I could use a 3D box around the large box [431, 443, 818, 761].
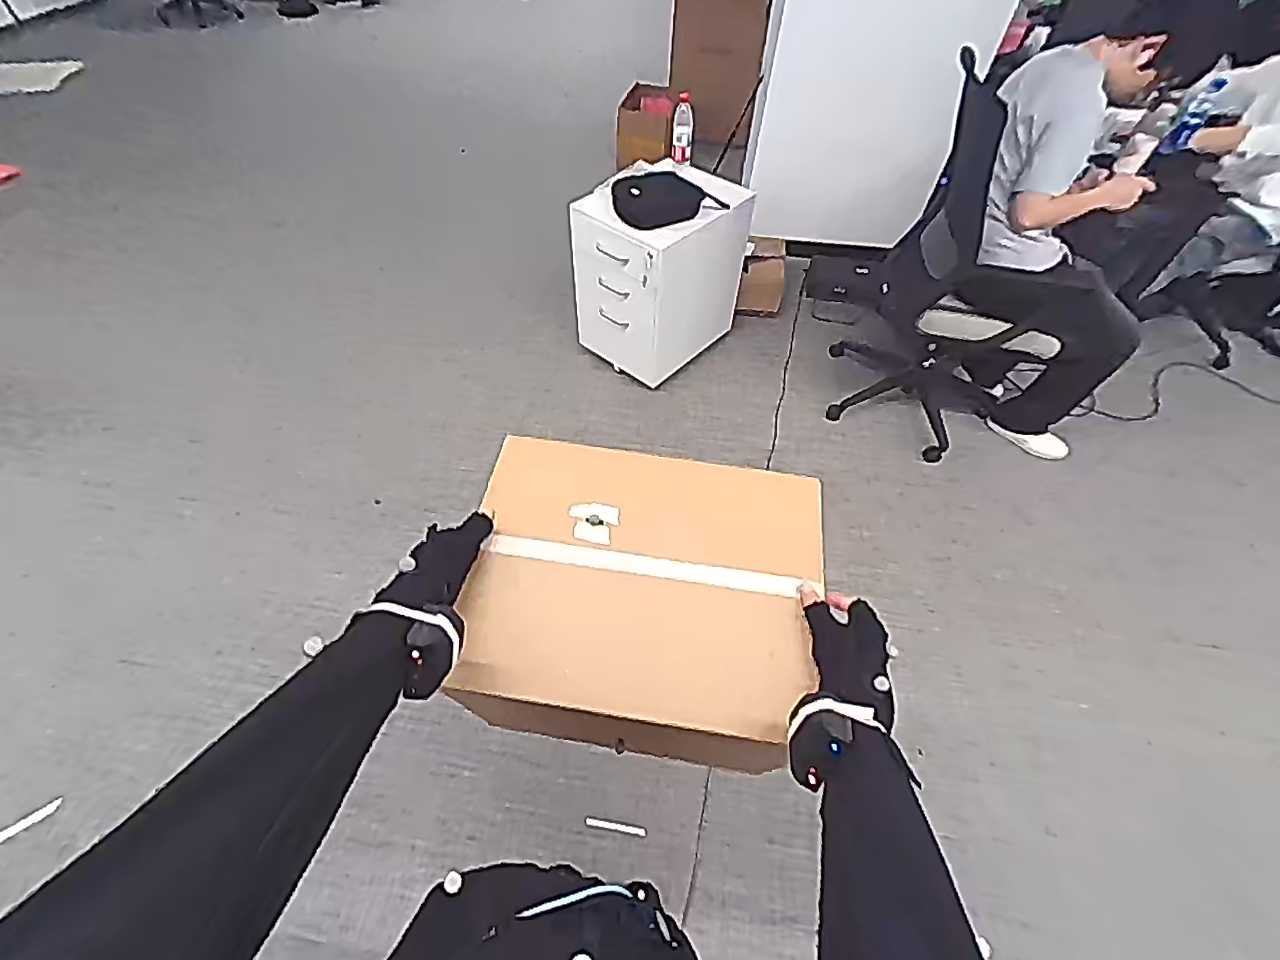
[{"bbox_3d":[0.001,0.181,0.747,0.408,0.320,0.320,8,57,5],"label":"large box"}]
